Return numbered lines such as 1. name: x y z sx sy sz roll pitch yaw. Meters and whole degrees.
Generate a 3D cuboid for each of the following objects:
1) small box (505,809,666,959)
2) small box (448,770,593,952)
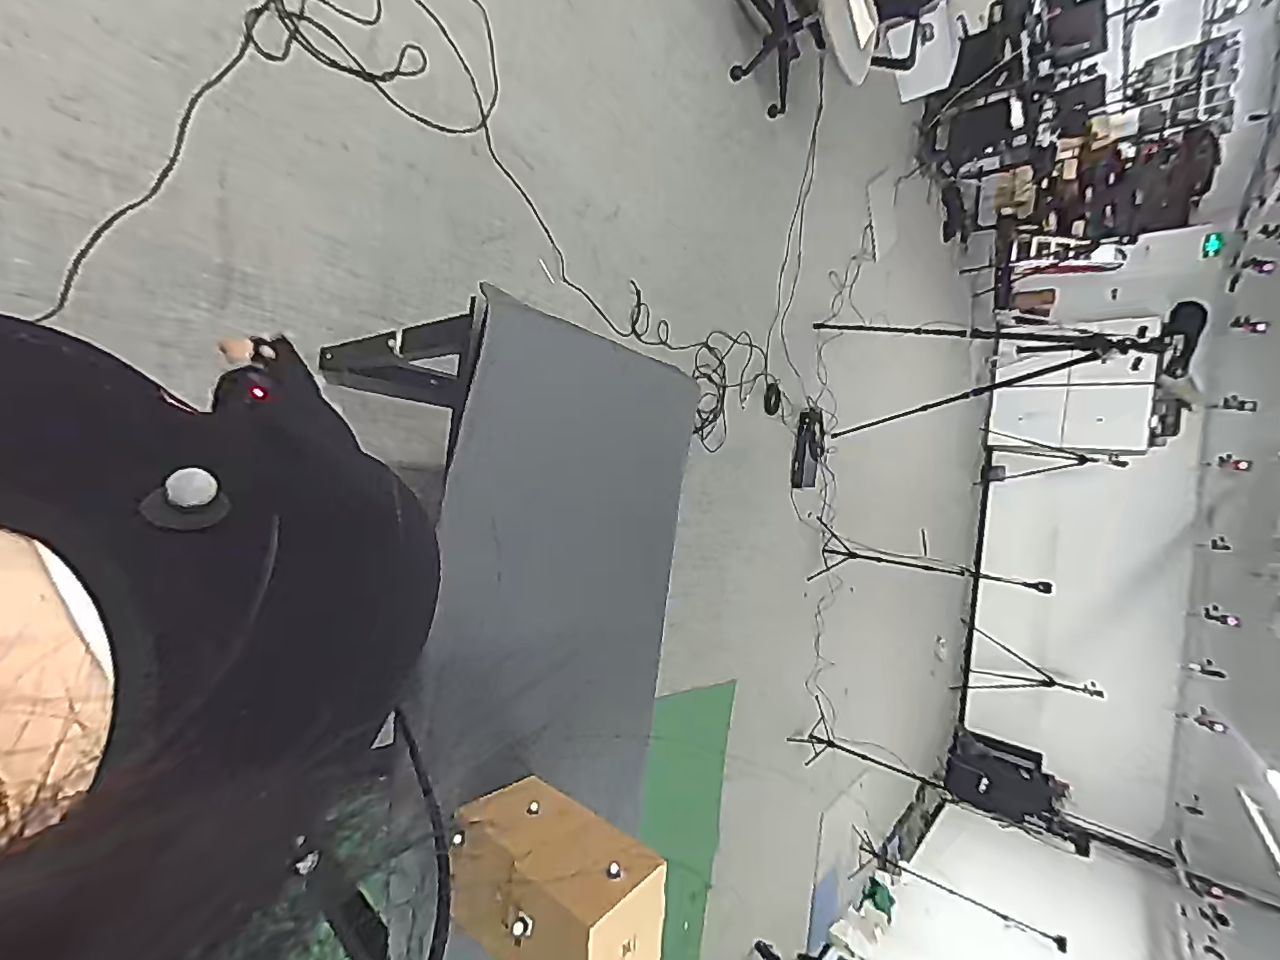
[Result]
1. small box: -0.082 0.647 0.827 0.179 0.176 0.168 2 91 -51
2. small box: -0.206 0.636 0.931 0.179 0.176 0.168 8 88 -53
